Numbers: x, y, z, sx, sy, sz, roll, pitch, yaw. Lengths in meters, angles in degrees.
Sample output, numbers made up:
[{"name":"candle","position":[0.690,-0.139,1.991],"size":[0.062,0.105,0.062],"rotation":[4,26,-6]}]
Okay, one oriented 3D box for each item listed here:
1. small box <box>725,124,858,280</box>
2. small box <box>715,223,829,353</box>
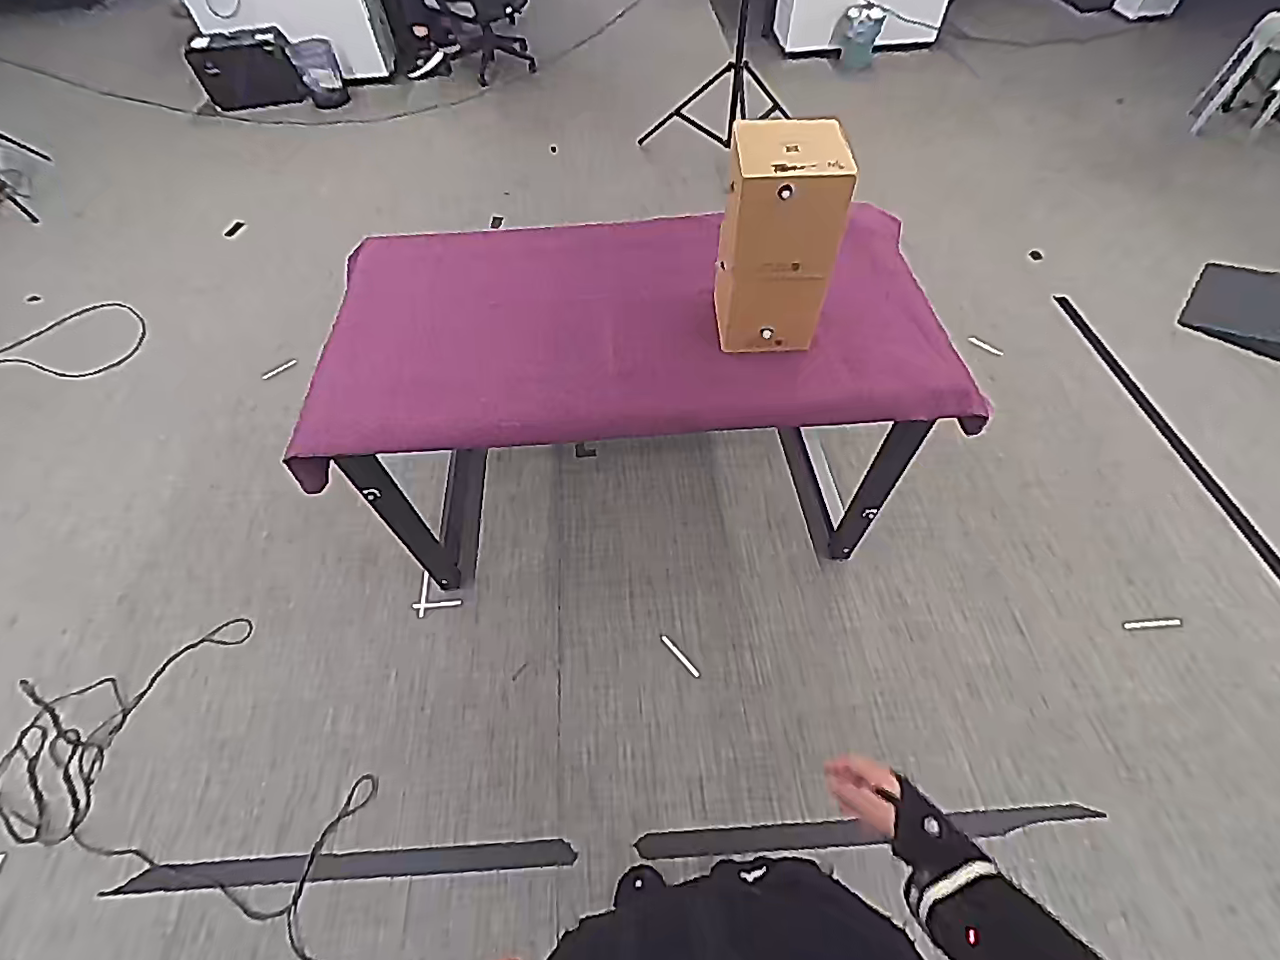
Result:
[{"name":"small box","position":[0.231,-0.448,0.876],"size":[0.168,0.176,0.179],"rotation":[0,55,3]},{"name":"small box","position":[0.235,-0.359,1.014],"size":[0.168,0.176,0.179],"rotation":[-2,56,1]}]
